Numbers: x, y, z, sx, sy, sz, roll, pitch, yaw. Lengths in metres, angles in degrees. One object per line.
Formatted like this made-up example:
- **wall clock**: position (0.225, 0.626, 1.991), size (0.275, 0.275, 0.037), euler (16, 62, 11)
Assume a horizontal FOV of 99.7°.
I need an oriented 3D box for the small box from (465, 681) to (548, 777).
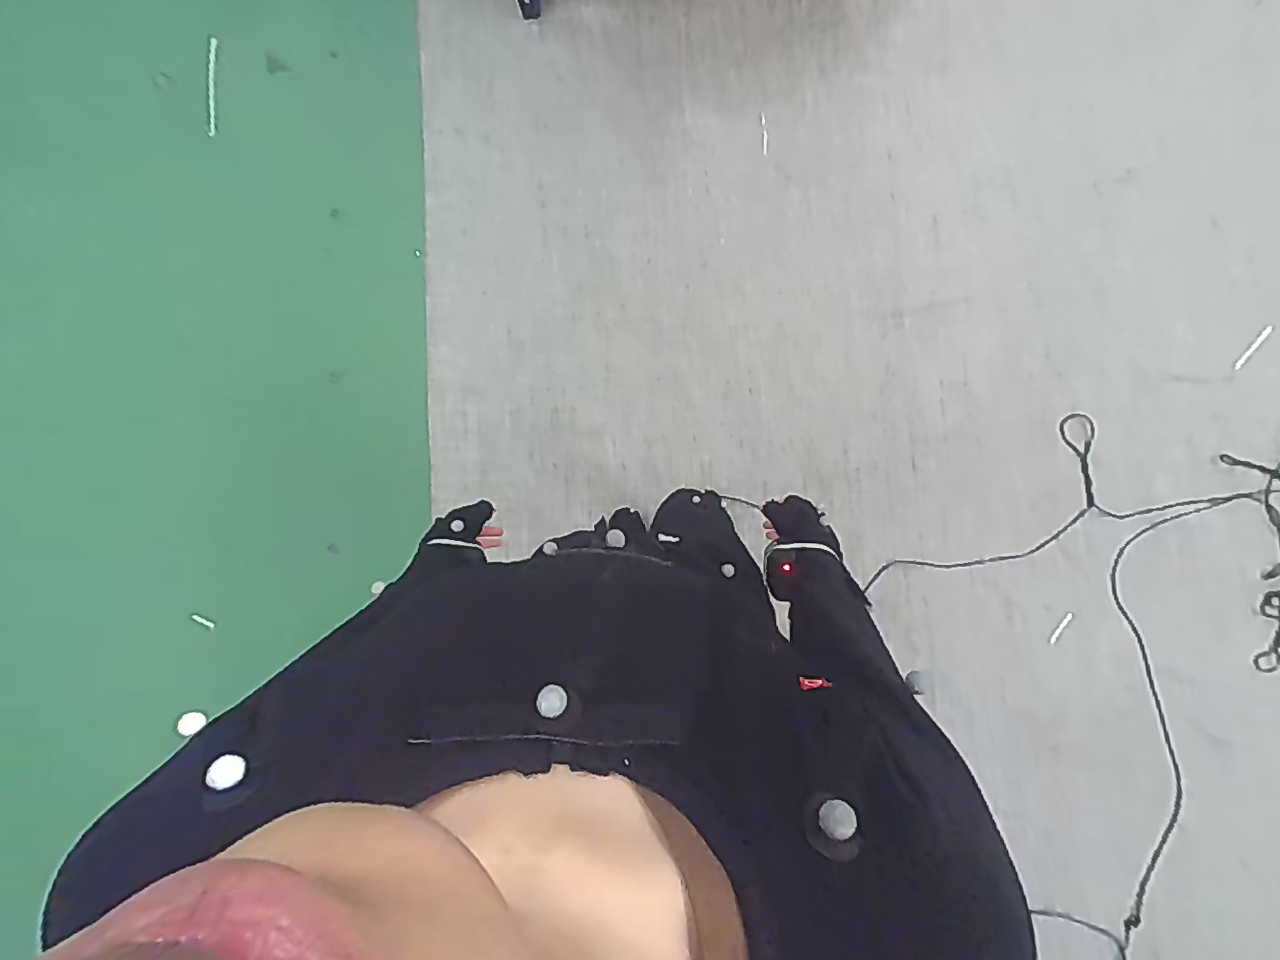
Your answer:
- **small box**: position (-0.337, 0.634, 1.393), size (0.168, 0.176, 0.179), euler (0, 85, 4)
